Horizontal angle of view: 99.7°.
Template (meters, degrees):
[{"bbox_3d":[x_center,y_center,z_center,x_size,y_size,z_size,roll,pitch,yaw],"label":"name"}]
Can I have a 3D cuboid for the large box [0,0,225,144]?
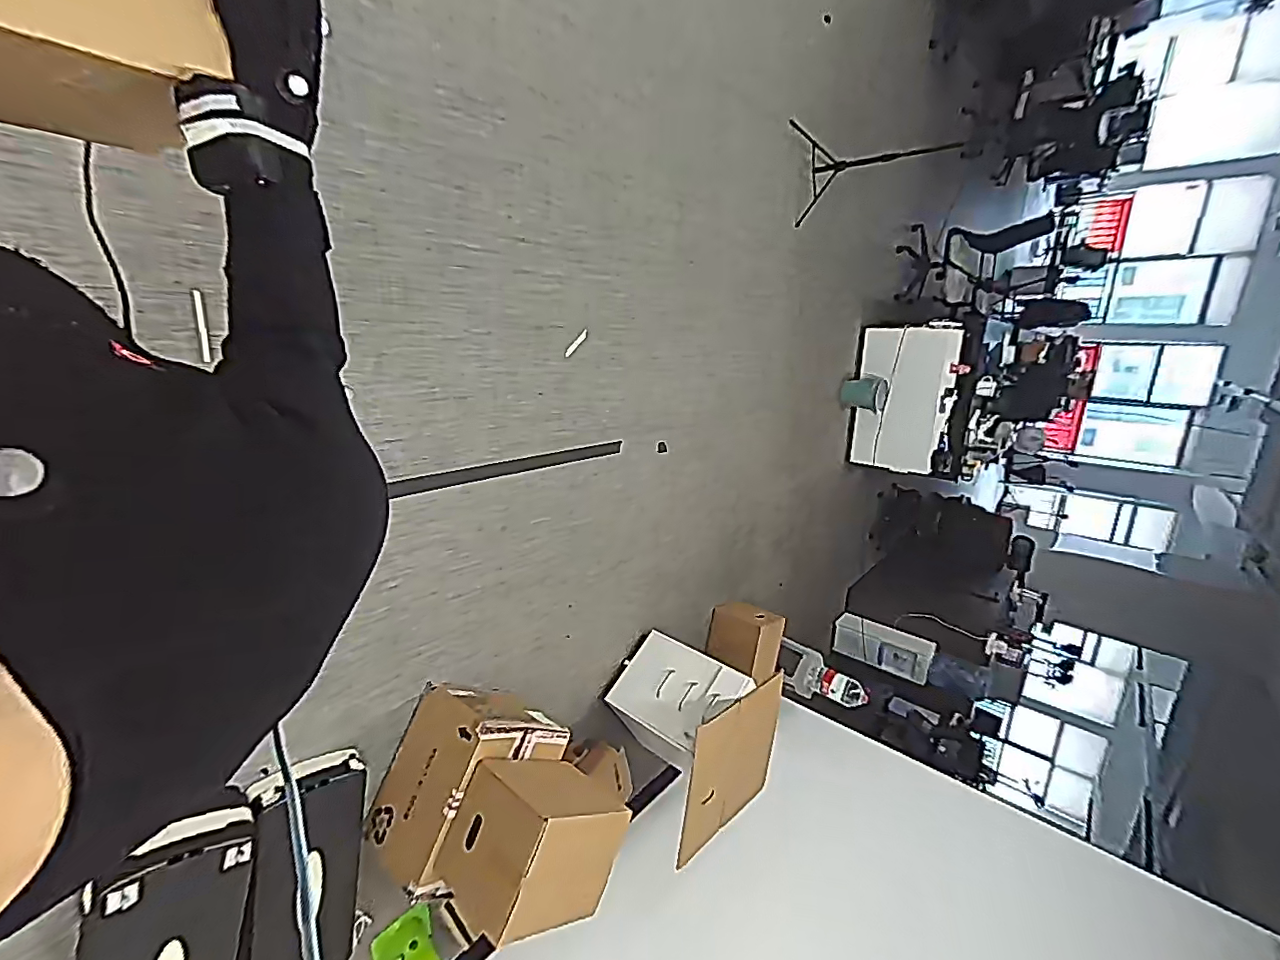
[{"bbox_3d":[-0.545,-0.438,0.310,0.408,0.320,0.320,-15,115,-47],"label":"large box"}]
